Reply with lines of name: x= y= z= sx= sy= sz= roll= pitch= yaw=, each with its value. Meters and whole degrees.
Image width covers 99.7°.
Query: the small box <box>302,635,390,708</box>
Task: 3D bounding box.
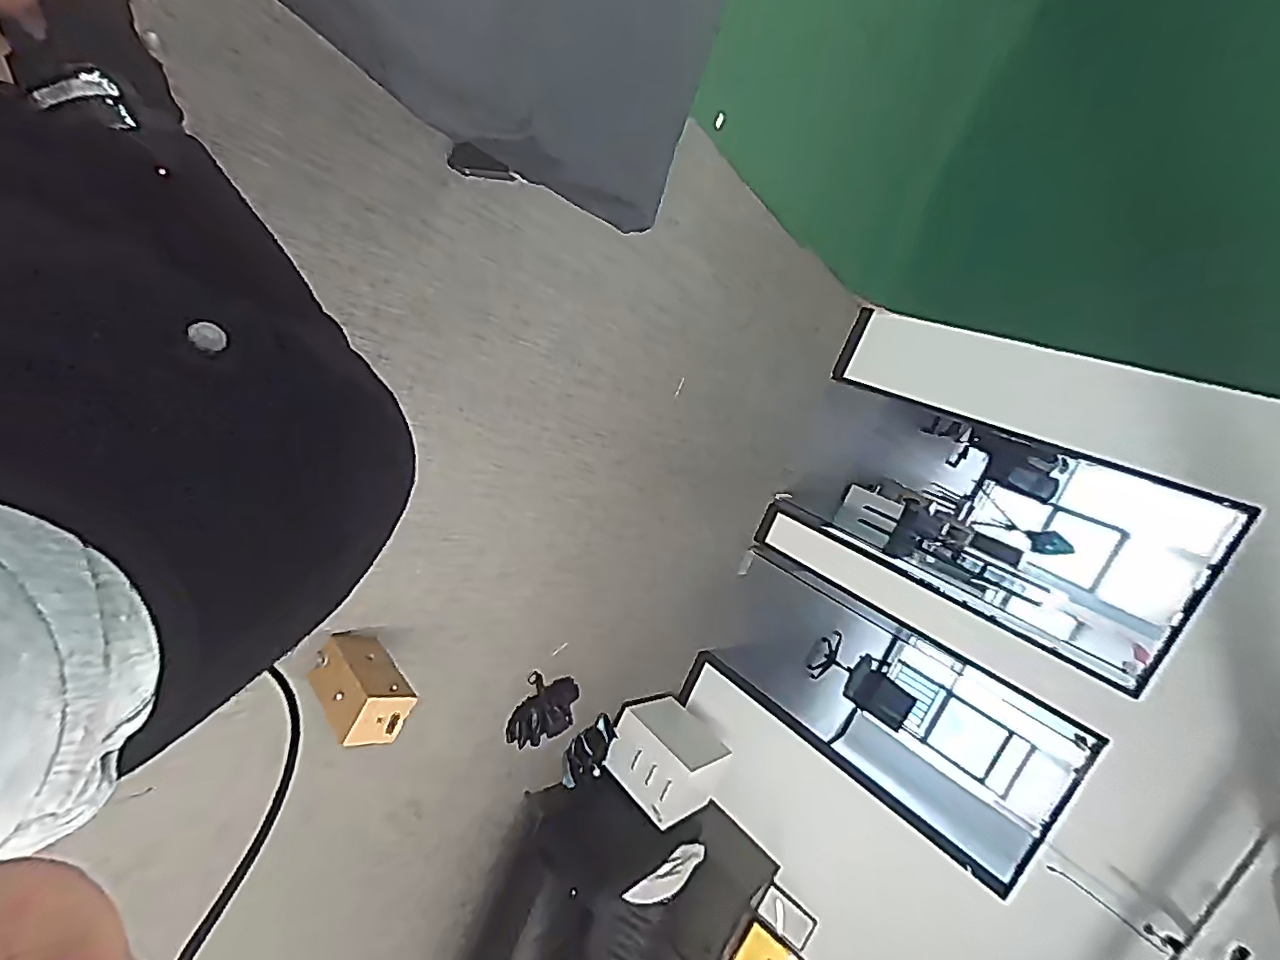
small box: x=-0.985 y=0.636 z=1.809 sx=0.179 sy=0.176 sz=0.168 roll=29 pitch=90 yaw=-53

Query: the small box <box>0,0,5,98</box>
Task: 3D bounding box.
small box: x=-0.430 y=-0.328 z=0.244 sx=0.168 sy=0.176 sz=0.179 roll=-11 pitch=144 yaw=-43

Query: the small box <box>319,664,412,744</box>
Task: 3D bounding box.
small box: x=-0.870 y=0.702 z=1.711 sx=0.179 sy=0.176 sz=0.168 roll=31 pitch=88 yaw=-53
